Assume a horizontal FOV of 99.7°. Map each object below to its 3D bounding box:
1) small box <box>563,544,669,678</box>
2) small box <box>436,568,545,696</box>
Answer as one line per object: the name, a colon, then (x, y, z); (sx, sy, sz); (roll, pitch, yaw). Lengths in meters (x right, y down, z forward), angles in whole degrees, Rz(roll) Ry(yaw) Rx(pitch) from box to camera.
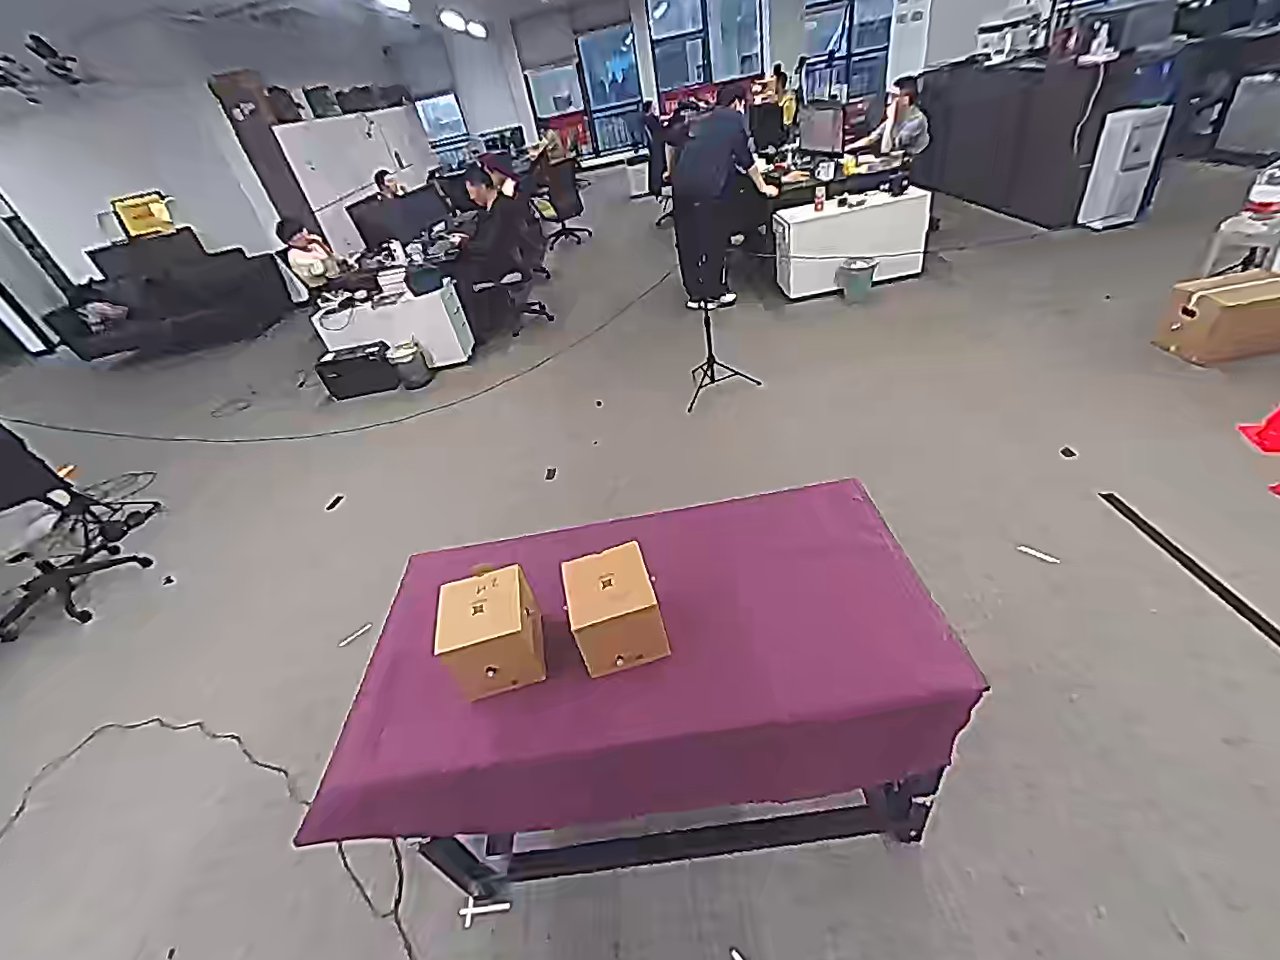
small box: (-0.049, 0.265, 1.096); (0.168, 0.176, 0.179); (-16, 37, -4)
small box: (-0.297, 0.314, 1.102); (0.168, 0.176, 0.179); (-15, 37, -4)
